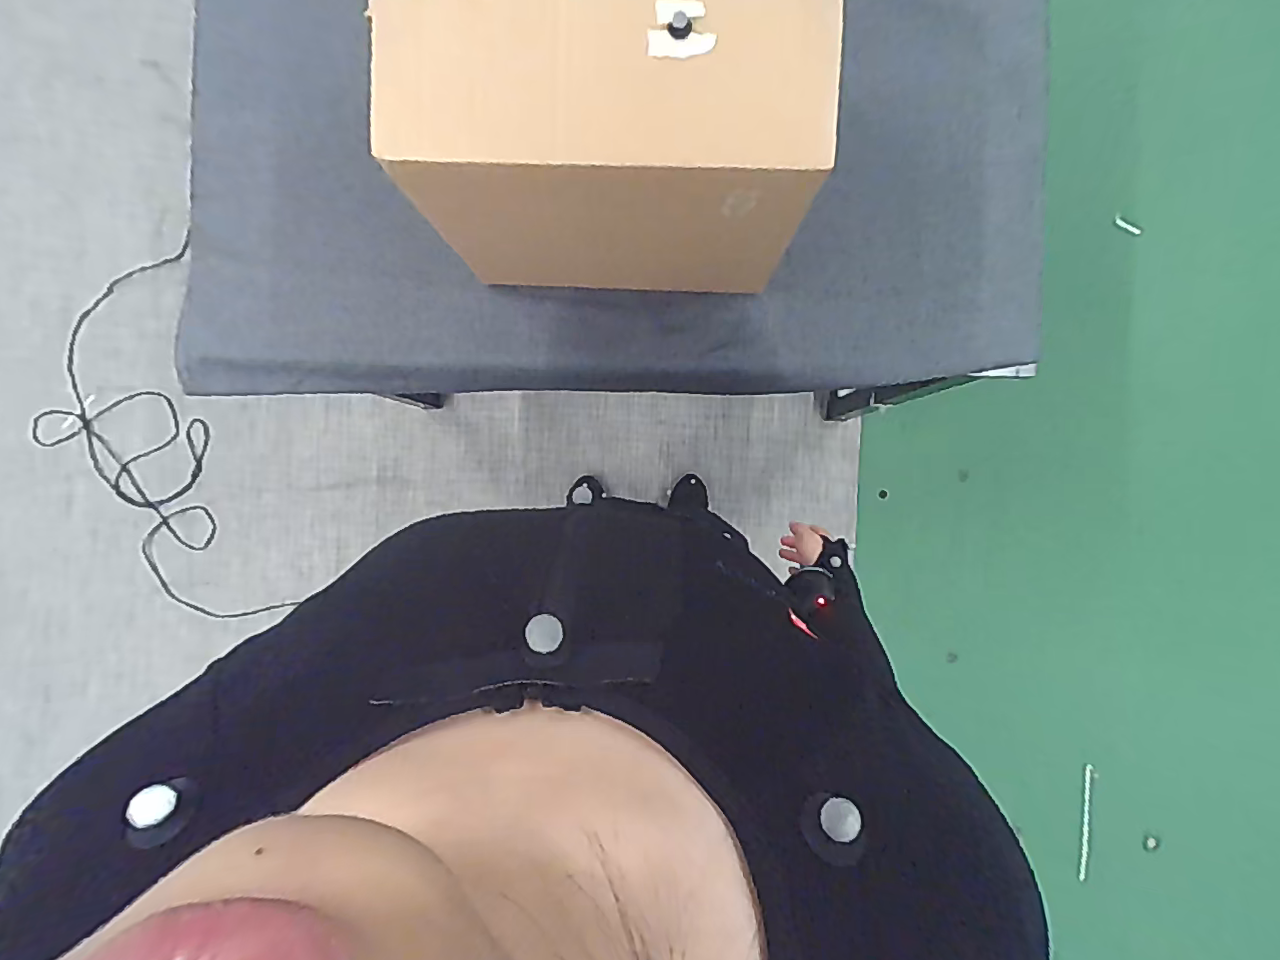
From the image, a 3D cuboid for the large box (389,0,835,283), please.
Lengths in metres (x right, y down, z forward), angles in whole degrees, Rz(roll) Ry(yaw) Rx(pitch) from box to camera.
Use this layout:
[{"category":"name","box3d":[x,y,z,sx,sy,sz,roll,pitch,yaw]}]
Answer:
[{"category":"large box","box3d":[-0.023,-0.435,0.630,0.408,0.320,0.320,2,91,1]}]
